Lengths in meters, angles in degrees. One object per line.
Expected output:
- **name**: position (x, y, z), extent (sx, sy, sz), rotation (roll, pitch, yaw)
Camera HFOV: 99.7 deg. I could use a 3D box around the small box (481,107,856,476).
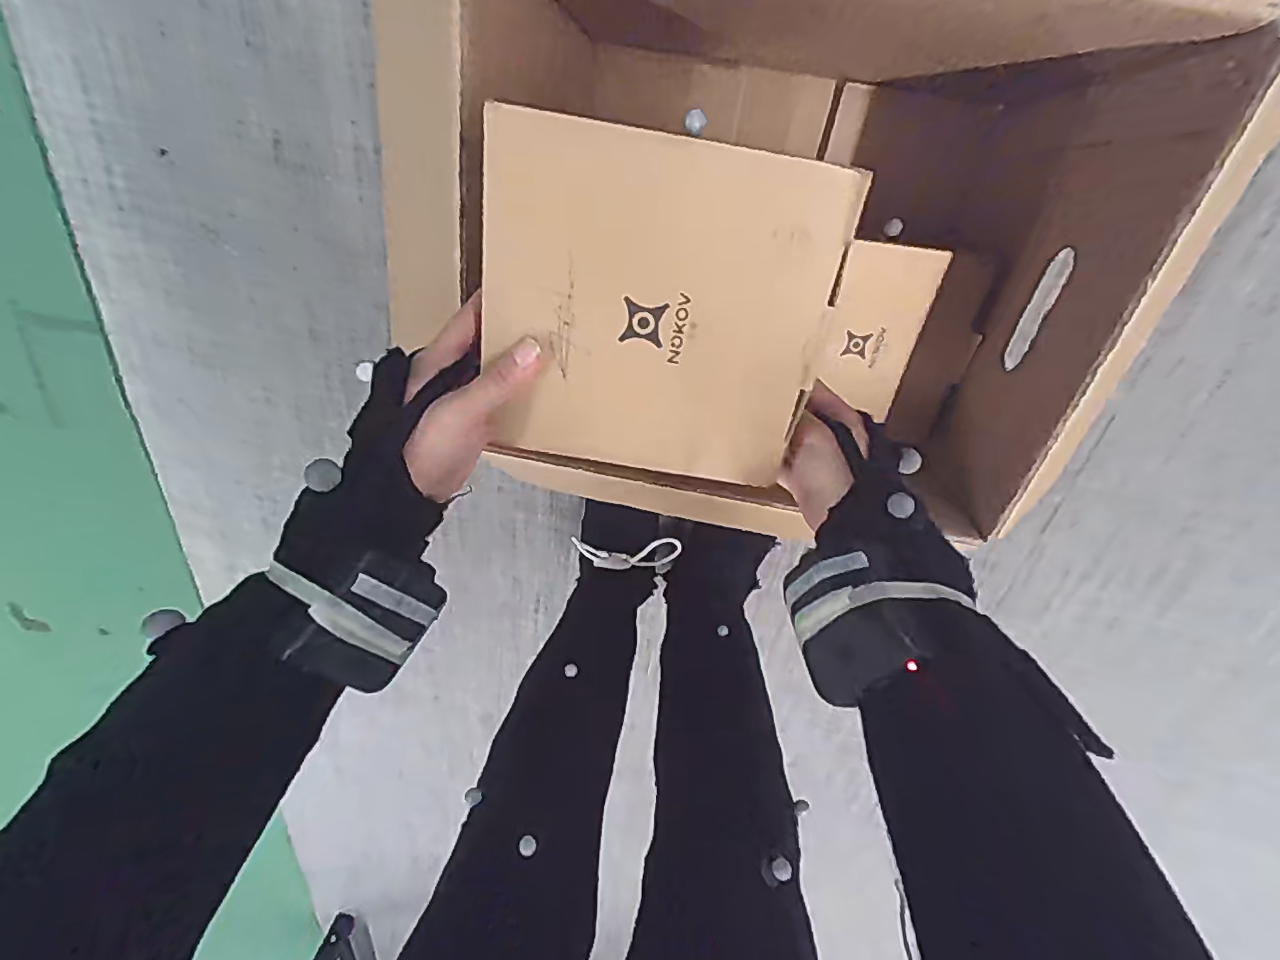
- **small box**: position (0.008, -0.124, 0.357), extent (0.179, 0.176, 0.168), rotation (10, 118, -1)
